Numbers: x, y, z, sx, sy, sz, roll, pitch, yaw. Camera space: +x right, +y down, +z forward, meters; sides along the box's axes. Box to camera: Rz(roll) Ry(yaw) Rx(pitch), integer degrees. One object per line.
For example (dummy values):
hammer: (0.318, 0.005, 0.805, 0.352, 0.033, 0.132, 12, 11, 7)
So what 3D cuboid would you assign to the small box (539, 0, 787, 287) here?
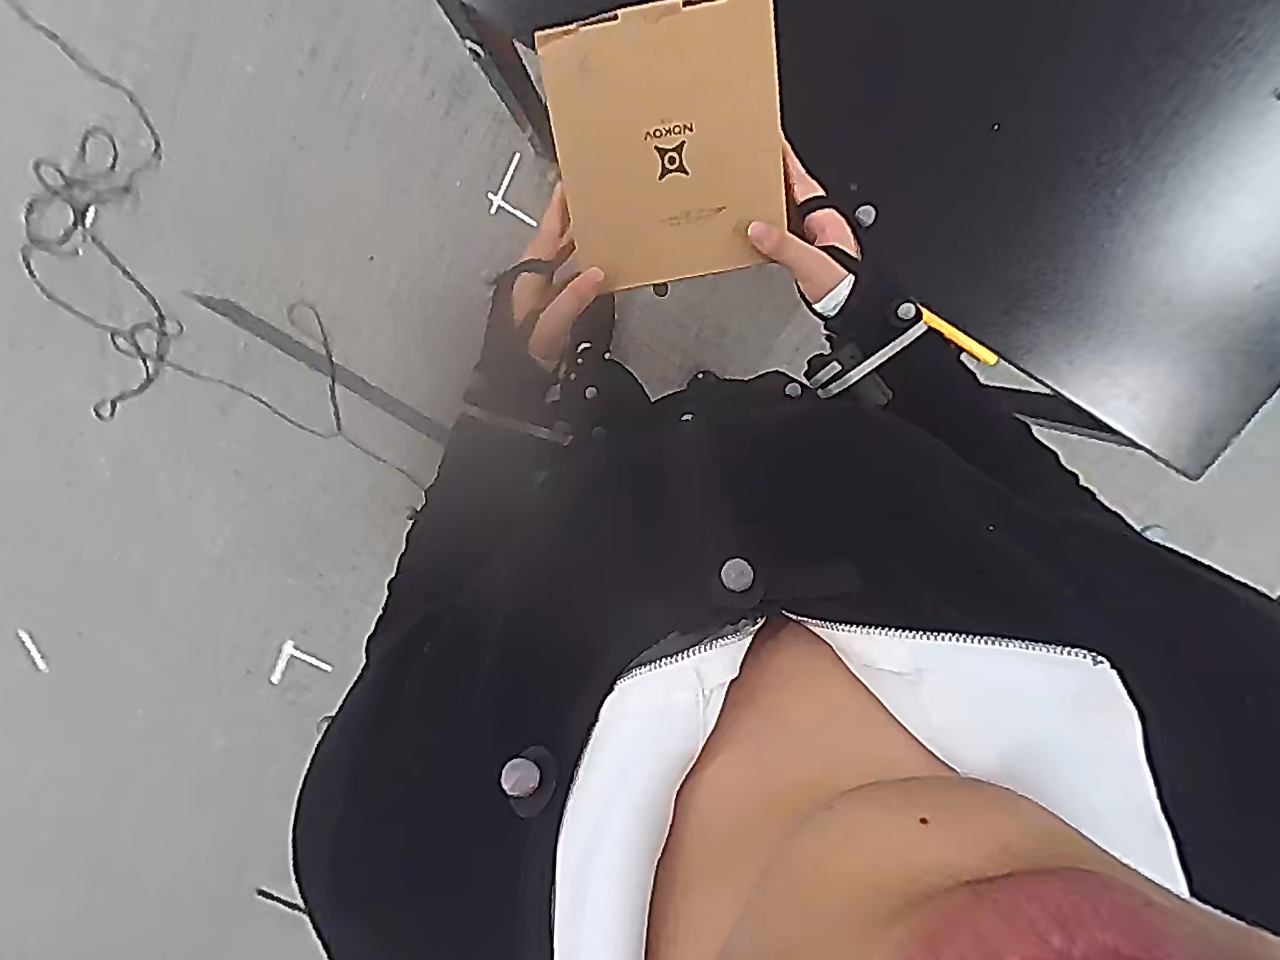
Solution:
small box: (0.018, -0.269, 0.464, 0.168, 0.176, 0.179, -9, 112, 1)

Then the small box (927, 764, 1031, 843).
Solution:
small box: (1.028, 1.013, 1.661, 0.179, 0.176, 0.168, 28, 104, -5)
